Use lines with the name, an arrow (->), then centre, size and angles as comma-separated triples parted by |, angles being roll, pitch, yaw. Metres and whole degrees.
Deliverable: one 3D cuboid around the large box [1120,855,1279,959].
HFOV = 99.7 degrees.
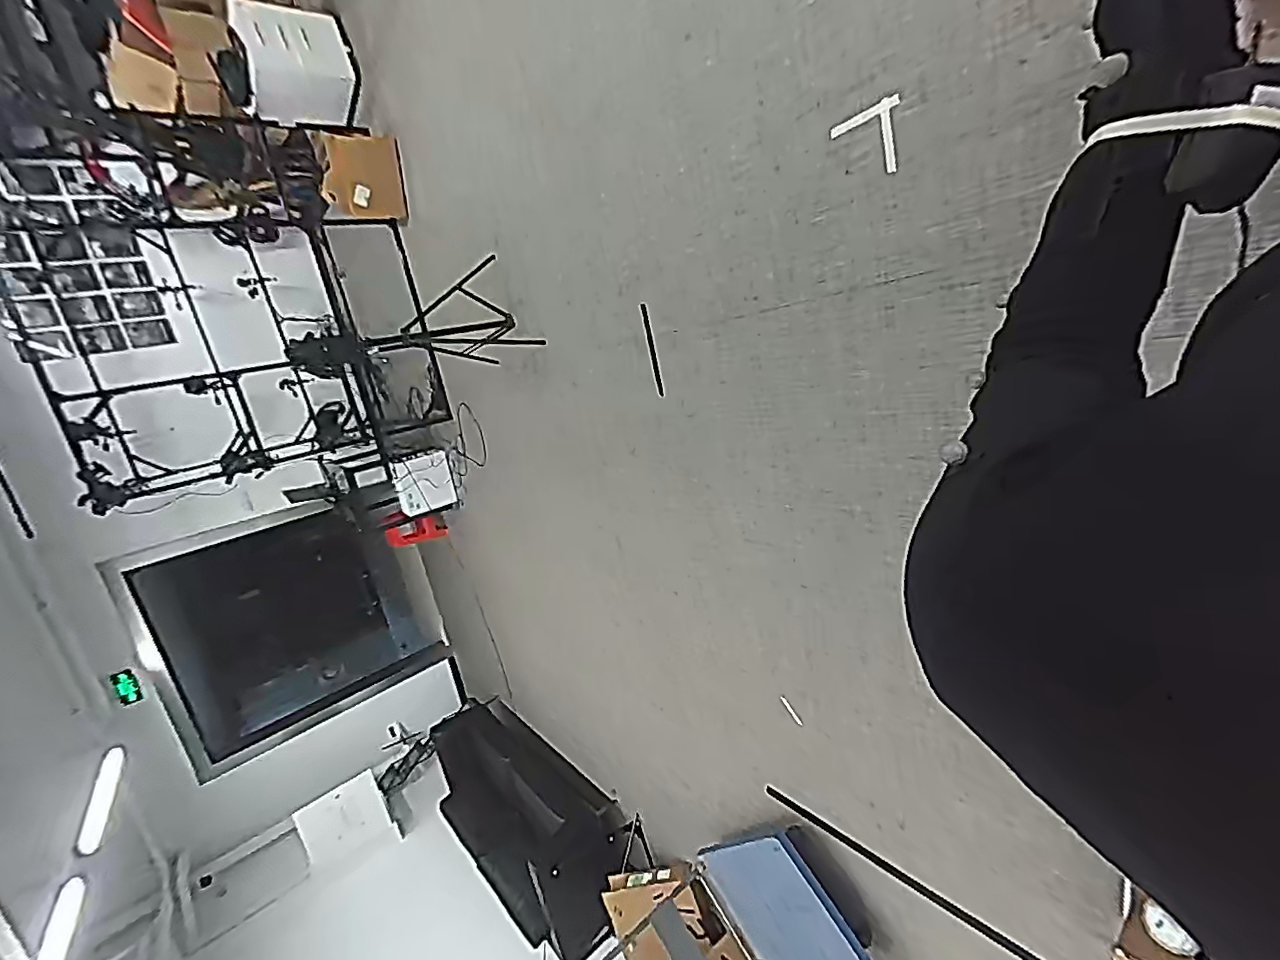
large box -> 1.240, 1.120, 1.118 | 0.320, 0.320, 0.408 | 4, 110, 52
